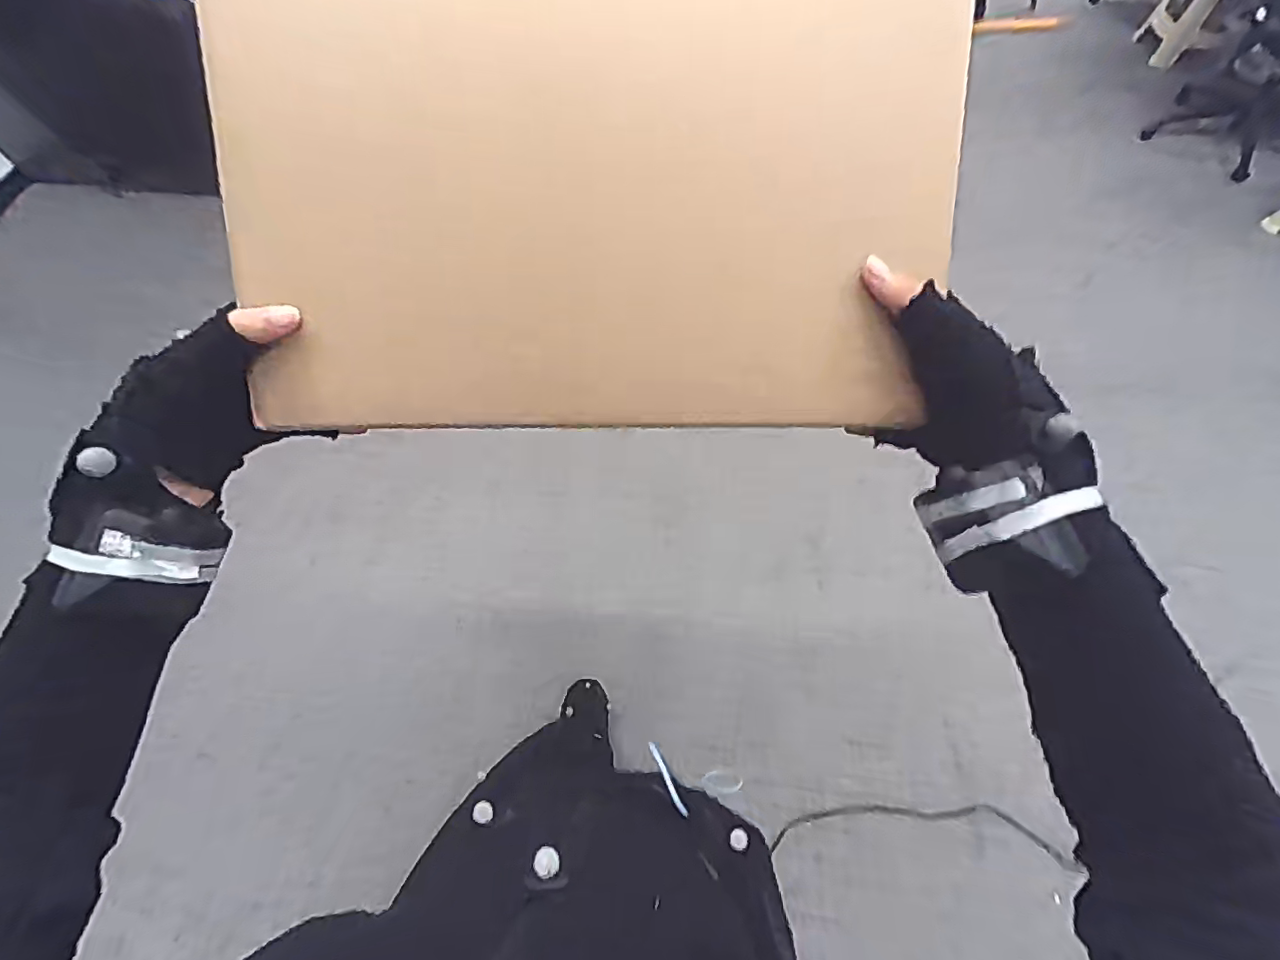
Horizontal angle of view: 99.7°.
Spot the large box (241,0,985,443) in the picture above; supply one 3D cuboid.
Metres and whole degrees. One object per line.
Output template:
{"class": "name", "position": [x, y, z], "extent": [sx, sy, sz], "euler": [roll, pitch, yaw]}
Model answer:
{"class": "large box", "position": [-0.018, -0.203, 0.442], "extent": [0.408, 0.320, 0.320], "euler": [1, 101, -2]}
